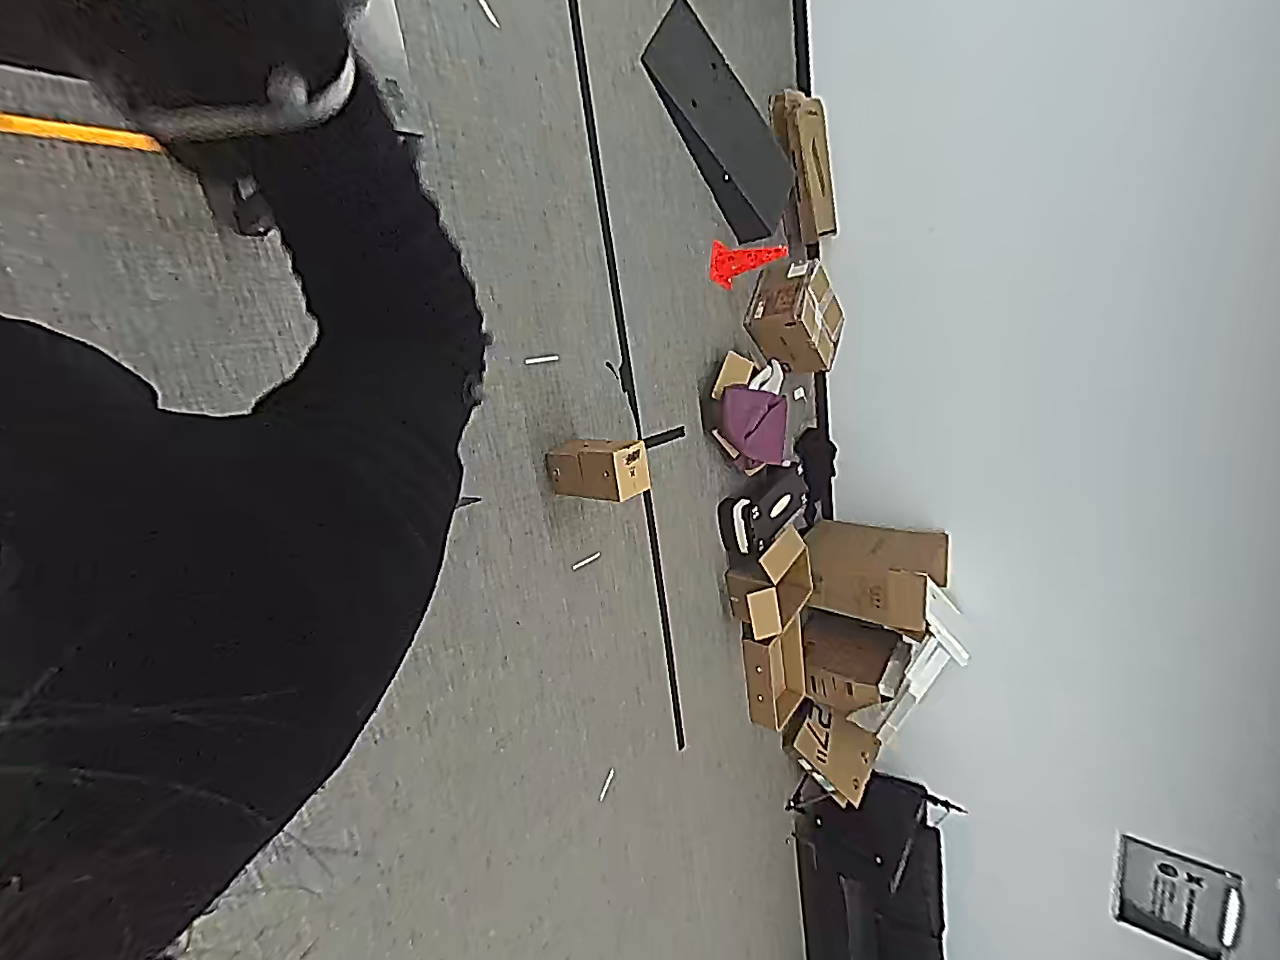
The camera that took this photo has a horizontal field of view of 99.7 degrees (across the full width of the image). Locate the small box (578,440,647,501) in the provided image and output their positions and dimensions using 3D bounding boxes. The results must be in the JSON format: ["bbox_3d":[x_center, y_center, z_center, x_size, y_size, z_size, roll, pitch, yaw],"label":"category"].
[{"bbox_3d":[-0.099,-0.037,1.886,0.168,0.176,0.179,-24,112,-46],"label":"small box"}]

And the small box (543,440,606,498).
[{"bbox_3d":[-0.226,-0.048,1.991,0.179,0.176,0.168,-30,115,-43],"label":"small box"}]
